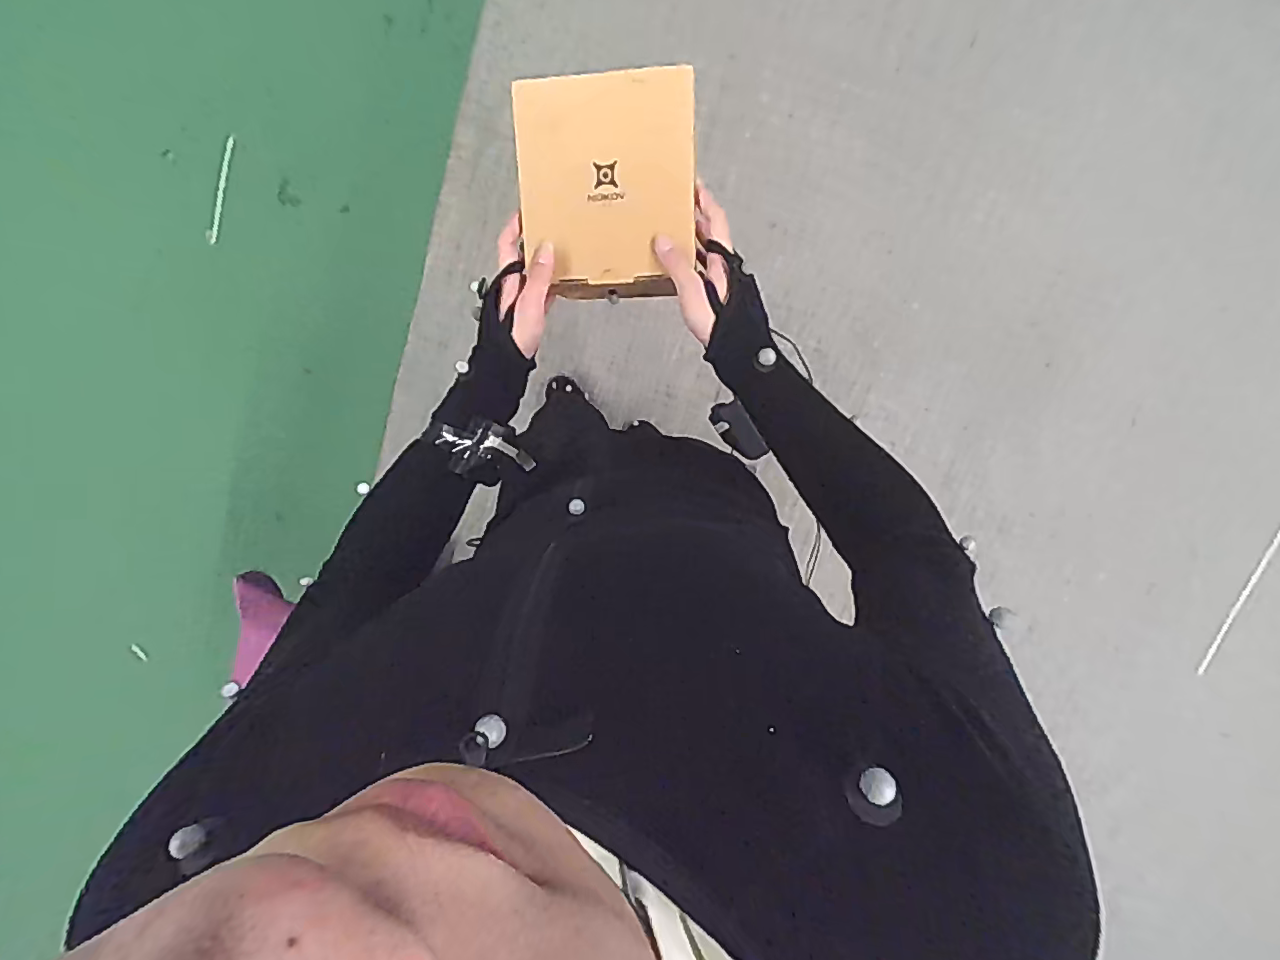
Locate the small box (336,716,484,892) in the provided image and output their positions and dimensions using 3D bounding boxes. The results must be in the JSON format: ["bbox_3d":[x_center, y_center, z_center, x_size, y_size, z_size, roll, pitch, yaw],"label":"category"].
[{"bbox_3d":[-0.400,0.566,0.964,0.168,0.176,0.179,20,103,2],"label":"small box"}]

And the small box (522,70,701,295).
[{"bbox_3d":[-0.020,-0.298,0.580,0.168,0.176,0.179,1,105,6],"label":"small box"}]
